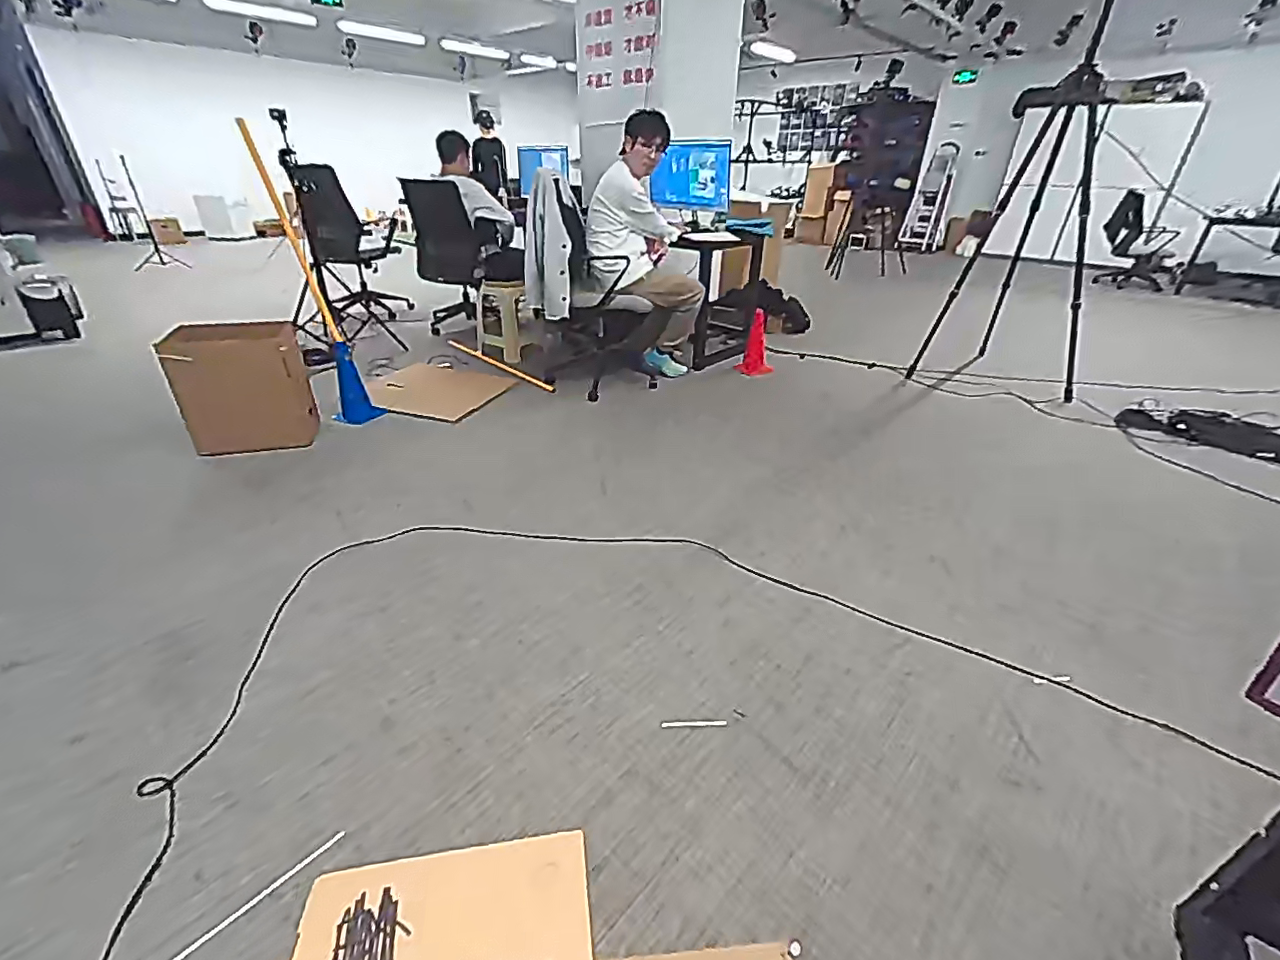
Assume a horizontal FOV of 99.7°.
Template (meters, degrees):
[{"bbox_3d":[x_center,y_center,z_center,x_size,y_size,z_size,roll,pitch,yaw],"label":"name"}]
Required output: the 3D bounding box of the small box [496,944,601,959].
[{"bbox_3d":[-0.108,0.504,0.414,0.179,0.176,0.168,-5,29,-7],"label":"small box"}]
